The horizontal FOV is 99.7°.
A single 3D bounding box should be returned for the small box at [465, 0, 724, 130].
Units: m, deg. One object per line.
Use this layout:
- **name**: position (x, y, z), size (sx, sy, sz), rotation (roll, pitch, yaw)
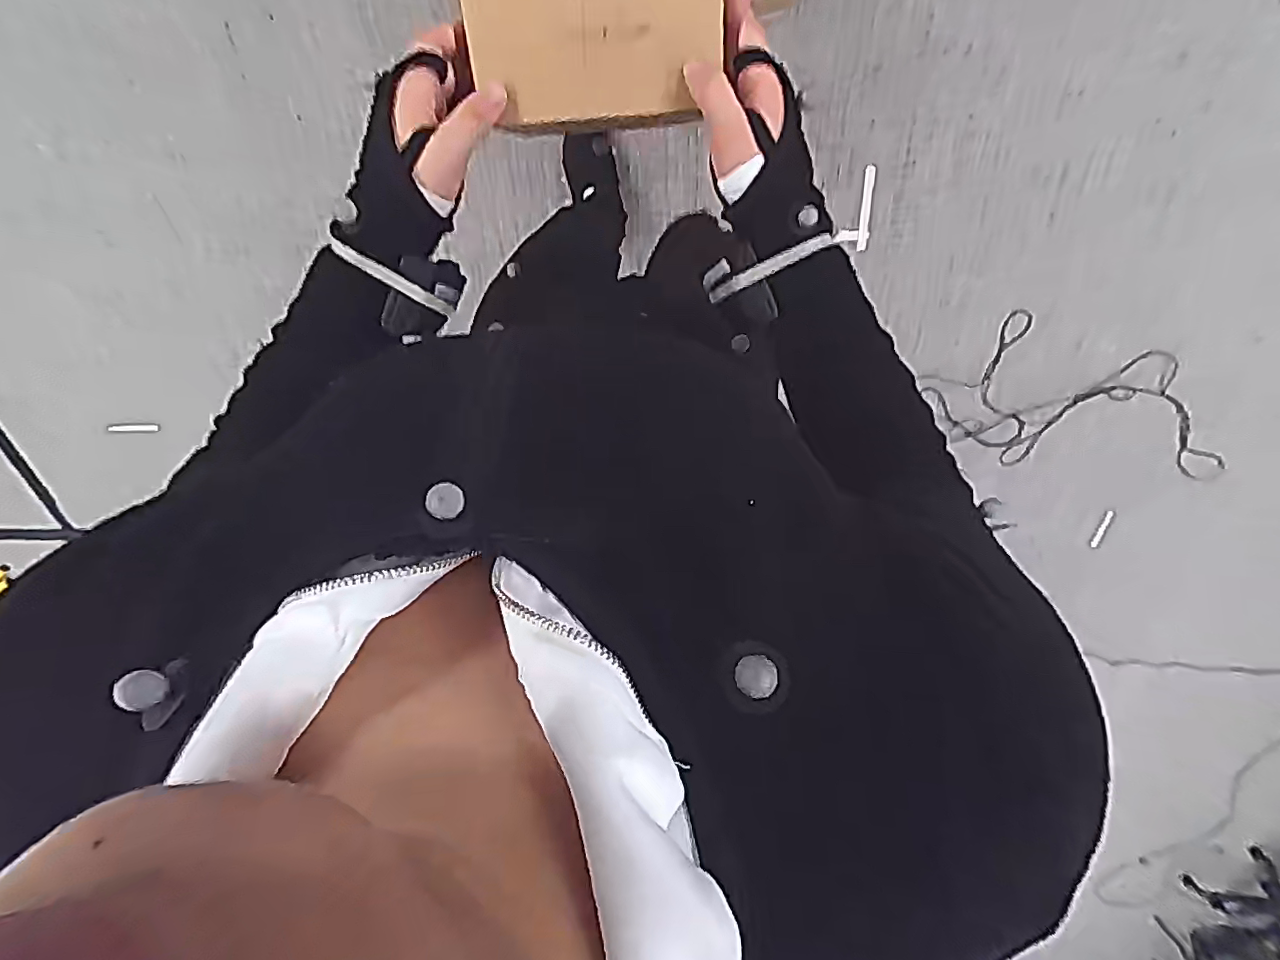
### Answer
- **small box**: position (-0.030, -0.368, 0.392), size (0.168, 0.176, 0.179), rotation (-3, 121, 4)
